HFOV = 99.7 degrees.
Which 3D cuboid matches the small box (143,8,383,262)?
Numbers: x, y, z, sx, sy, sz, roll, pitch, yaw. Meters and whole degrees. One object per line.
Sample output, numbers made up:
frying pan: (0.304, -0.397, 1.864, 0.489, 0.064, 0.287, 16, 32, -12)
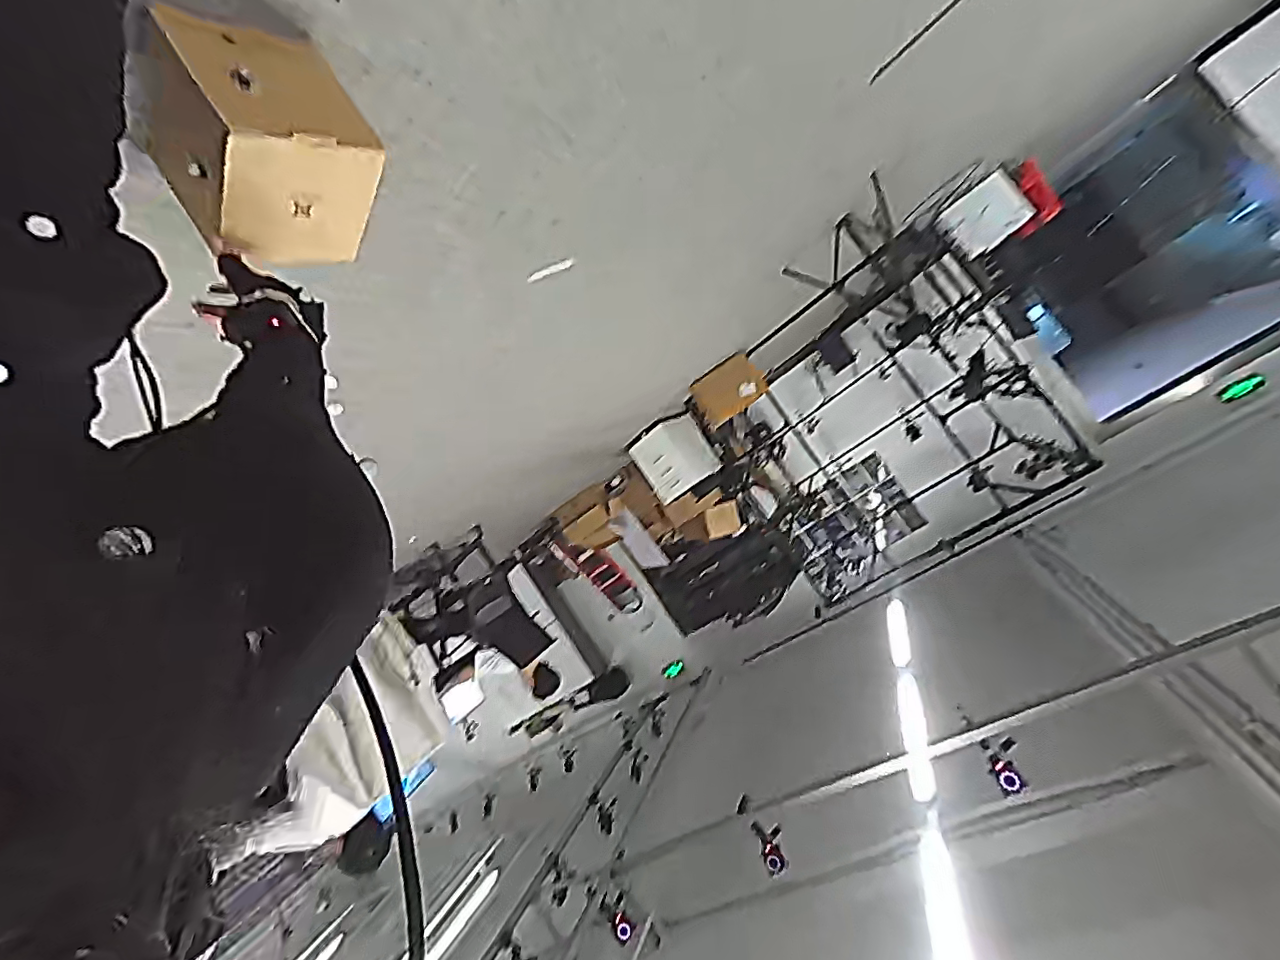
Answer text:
small box: (-0.439, -0.384, 0.629, 0.179, 0.176, 0.168, -37, 174, 42)
